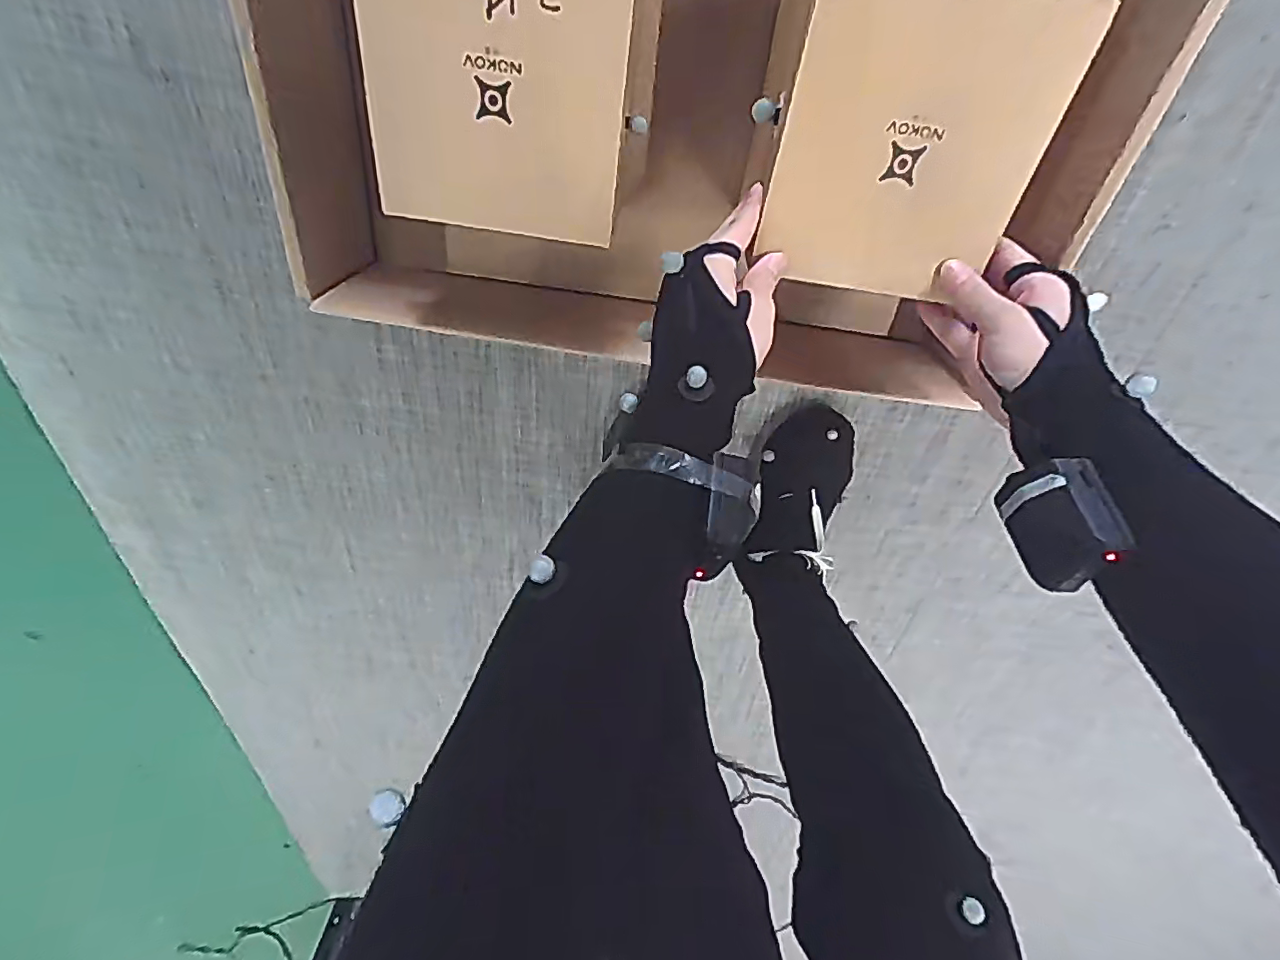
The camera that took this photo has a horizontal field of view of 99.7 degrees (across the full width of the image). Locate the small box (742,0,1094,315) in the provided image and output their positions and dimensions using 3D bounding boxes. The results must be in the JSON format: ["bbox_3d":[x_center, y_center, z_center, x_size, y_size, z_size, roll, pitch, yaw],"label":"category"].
[{"bbox_3d":[0.181,-0.254,0.425,0.168,0.176,0.179,8,127,-1],"label":"small box"}]
